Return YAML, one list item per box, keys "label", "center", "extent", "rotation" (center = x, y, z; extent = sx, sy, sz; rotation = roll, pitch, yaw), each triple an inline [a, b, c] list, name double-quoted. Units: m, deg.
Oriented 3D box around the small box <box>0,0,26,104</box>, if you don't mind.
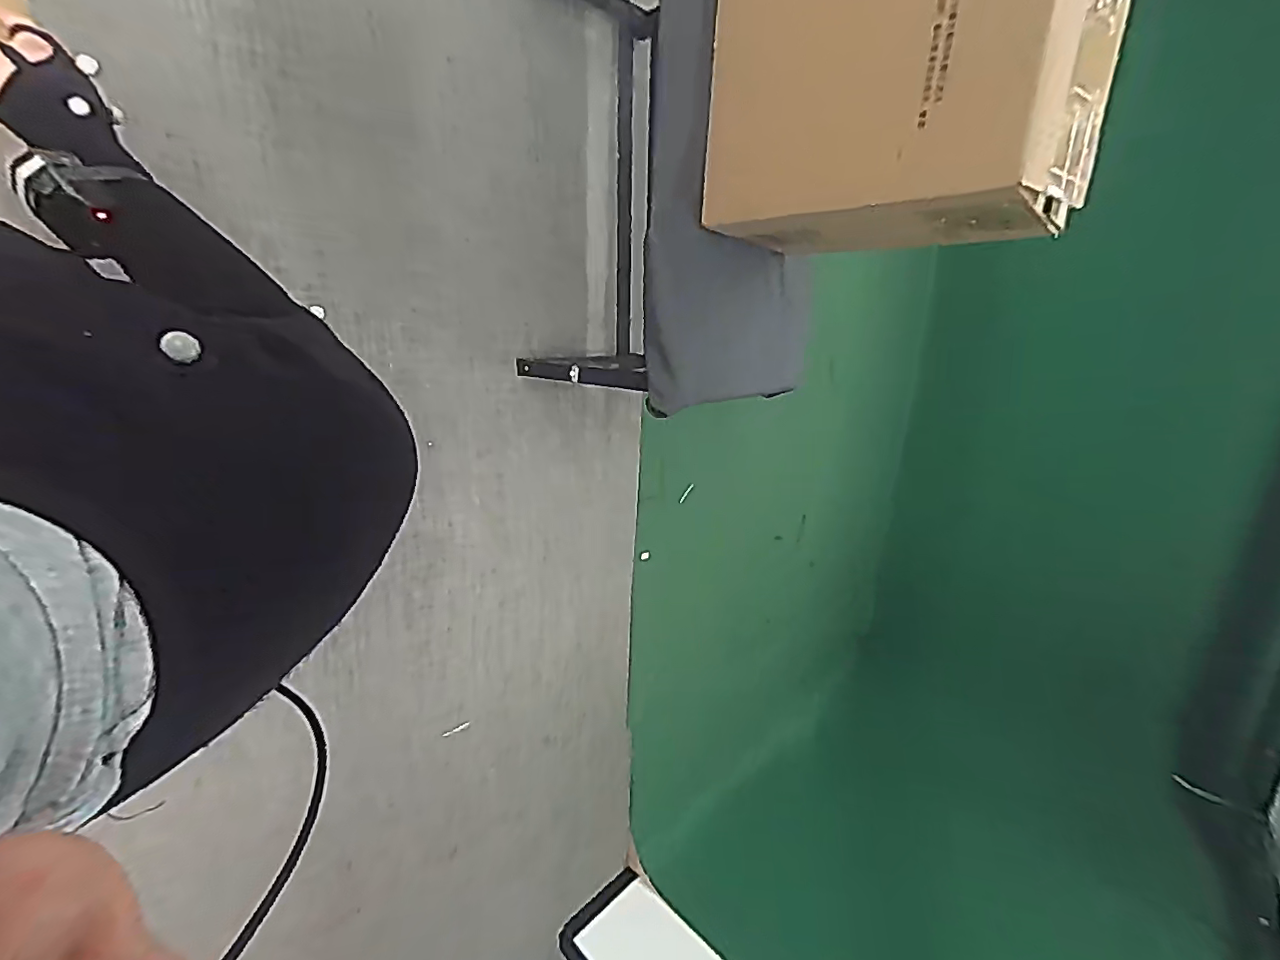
- label: "small box"
  center: [-0.651, -0.377, 0.438]
  extent: [0.179, 0.176, 0.168]
  rotation: [-41, 151, 10]
